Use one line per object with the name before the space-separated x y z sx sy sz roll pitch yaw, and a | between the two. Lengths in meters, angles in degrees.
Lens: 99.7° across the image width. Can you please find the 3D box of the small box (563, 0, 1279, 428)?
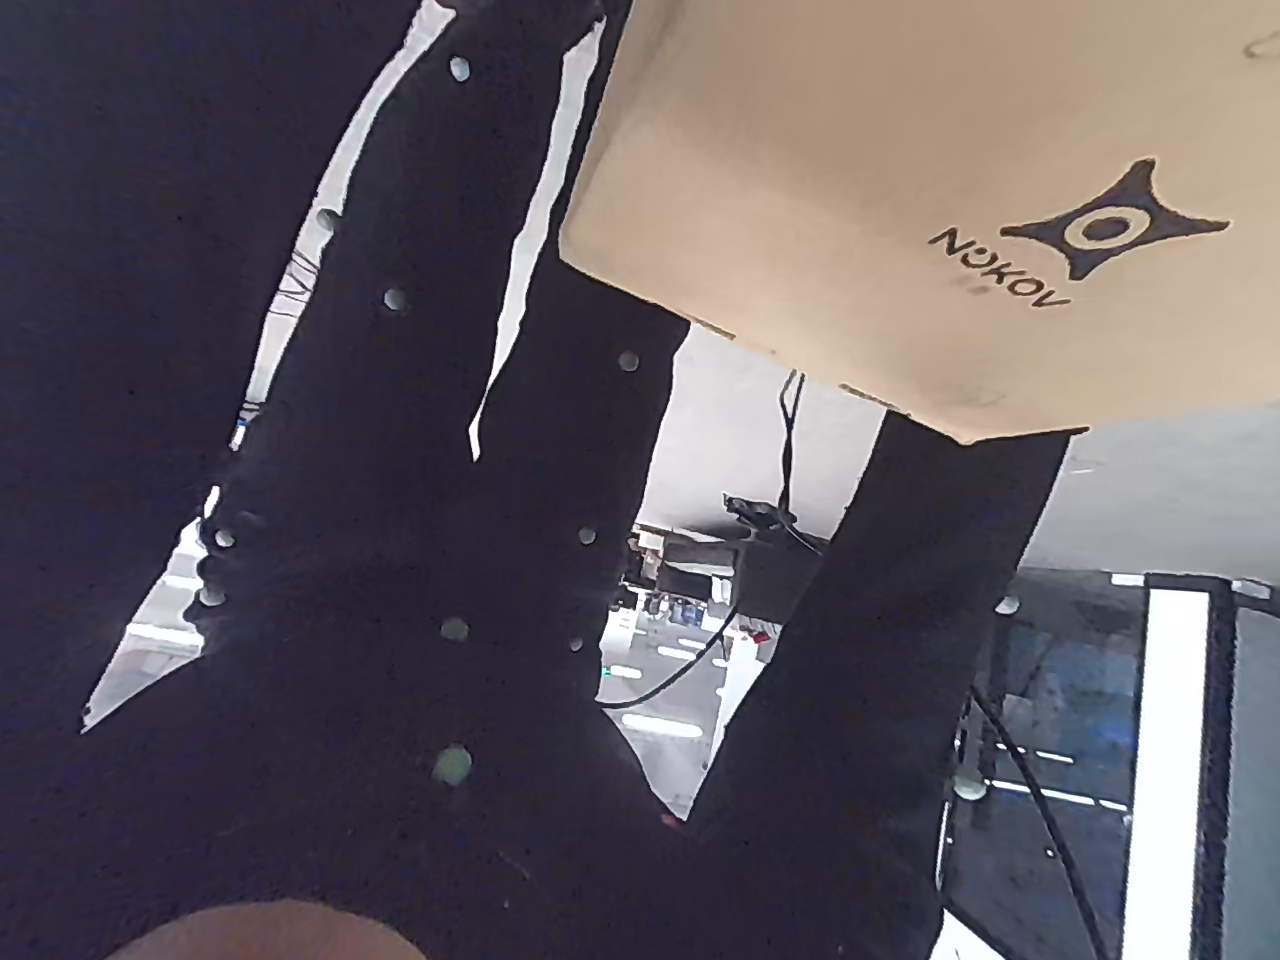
small box | 0.101 -0.127 0.106 0.168 0.176 0.179 17 169 -18
